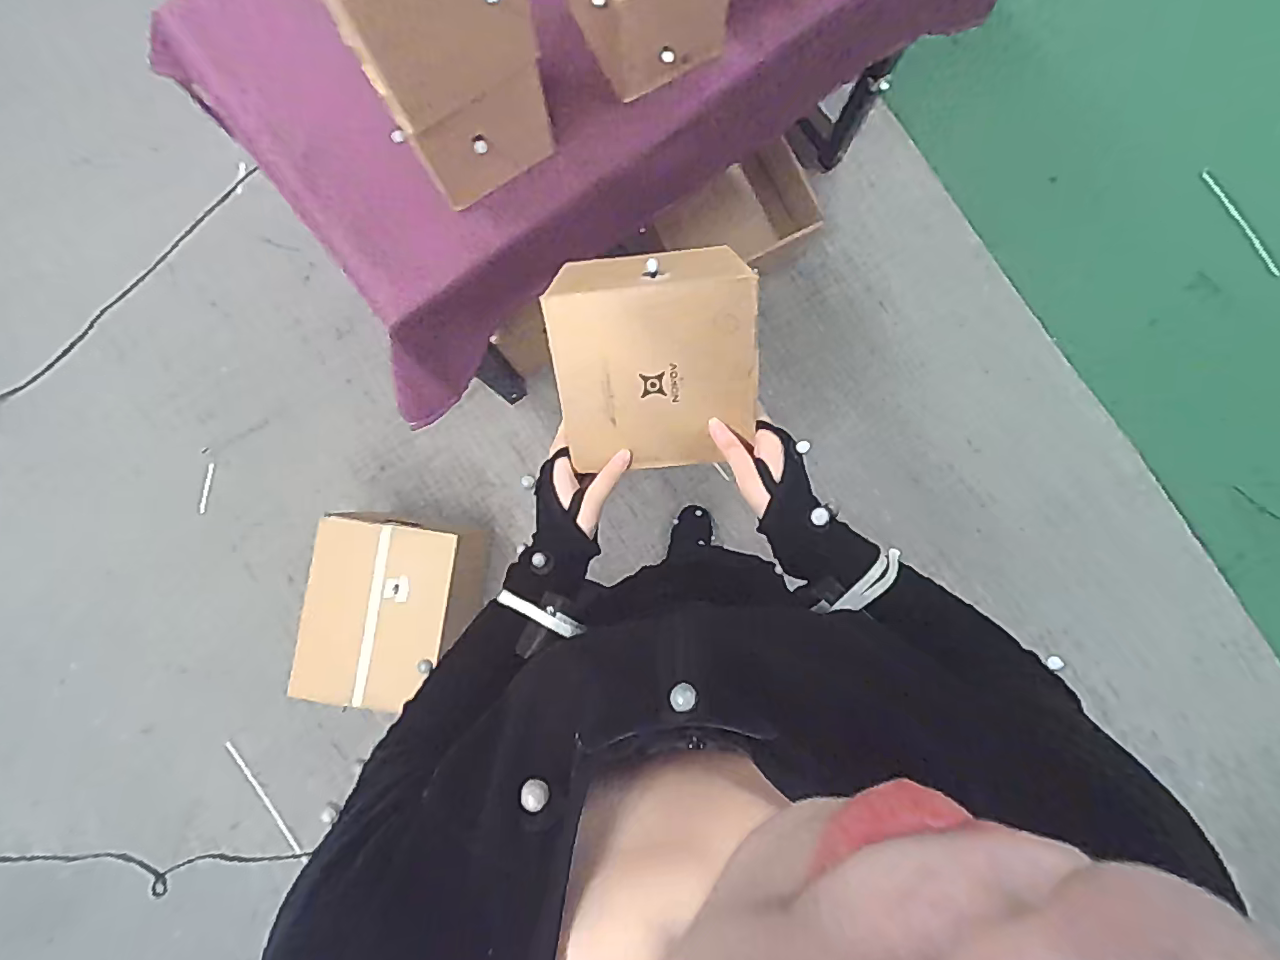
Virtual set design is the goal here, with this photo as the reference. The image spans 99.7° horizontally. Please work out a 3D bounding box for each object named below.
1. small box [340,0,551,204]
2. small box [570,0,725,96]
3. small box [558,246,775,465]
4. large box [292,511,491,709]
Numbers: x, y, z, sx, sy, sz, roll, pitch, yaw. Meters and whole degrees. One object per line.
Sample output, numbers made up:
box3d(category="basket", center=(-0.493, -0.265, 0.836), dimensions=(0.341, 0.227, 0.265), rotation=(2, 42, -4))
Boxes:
box3d(category="small box", center=(-0.241, -0.512, 0.717), dimensions=(0.179, 0.176, 0.168), rotation=(-33, 88, -1))
box3d(category="small box", center=(0.004, -0.680, 0.728), dimensions=(0.168, 0.176, 0.179), rotation=(-29, 88, -1))
box3d(category="small box", center=(0.024, -0.129, 0.536), dimensions=(0.179, 0.176, 0.168), rotation=(-3, 121, 2))
box3d(category="large box", center=(-0.585, 0.297, 1.338), dimensions=(0.320, 0.320, 0.408), rotation=(9, 86, -1))
